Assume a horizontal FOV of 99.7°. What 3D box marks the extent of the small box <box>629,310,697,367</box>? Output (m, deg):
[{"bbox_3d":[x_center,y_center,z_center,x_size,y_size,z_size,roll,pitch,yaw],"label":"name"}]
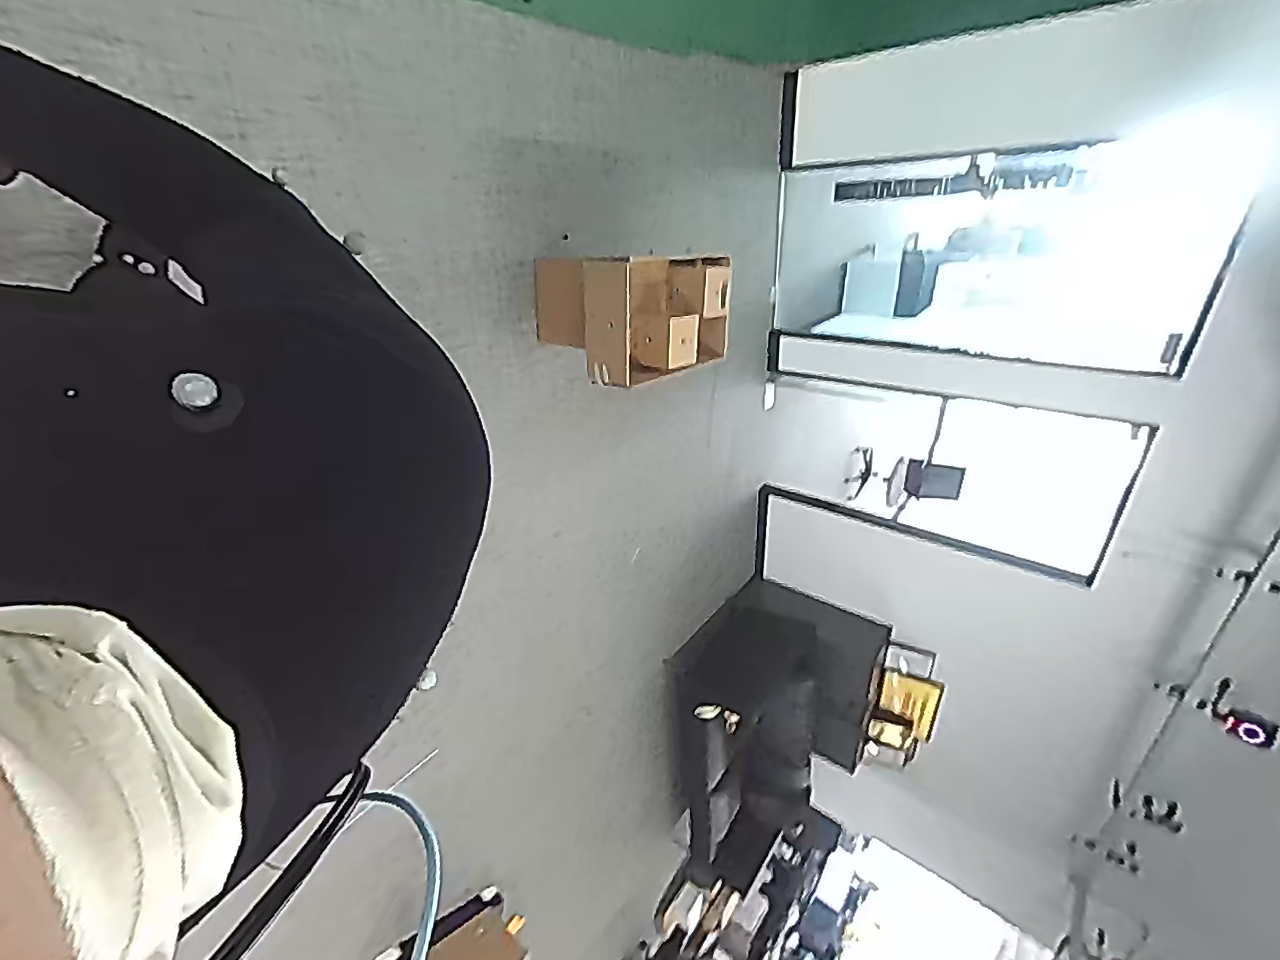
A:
[{"bbox_3d":[0.077,-0.497,1.888,0.179,0.176,0.168,-25,126,-46],"label":"small box"}]
